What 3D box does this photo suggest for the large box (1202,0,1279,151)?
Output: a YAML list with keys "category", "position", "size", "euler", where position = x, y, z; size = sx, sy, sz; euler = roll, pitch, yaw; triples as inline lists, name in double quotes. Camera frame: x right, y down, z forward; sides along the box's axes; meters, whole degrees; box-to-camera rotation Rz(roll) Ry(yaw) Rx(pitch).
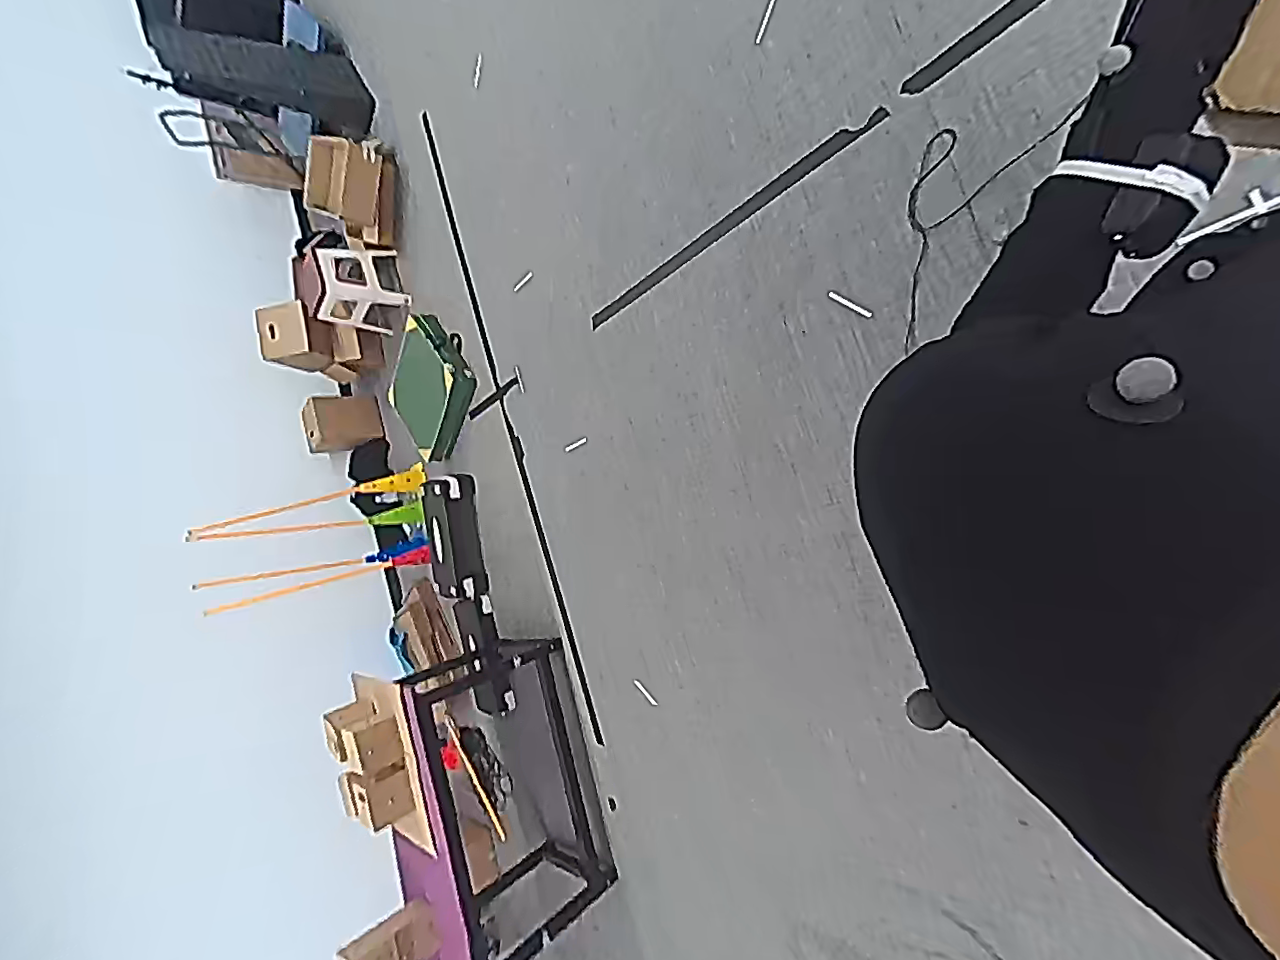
- category: "large box"
  position: [0.636, -0.348, 0.276]
  size: [0.408, 0.320, 0.320]
  euler: [31, 130, 34]
